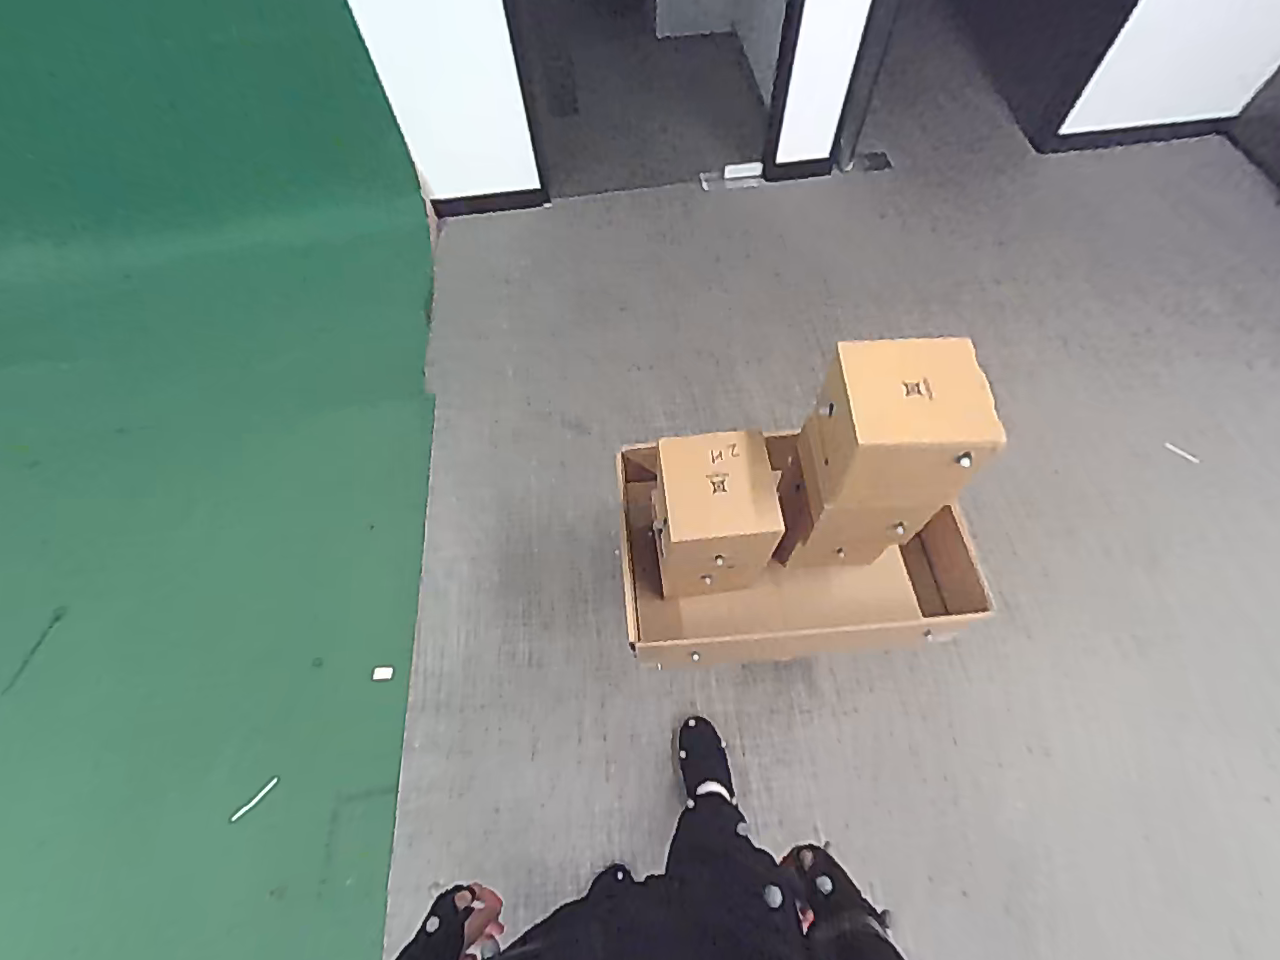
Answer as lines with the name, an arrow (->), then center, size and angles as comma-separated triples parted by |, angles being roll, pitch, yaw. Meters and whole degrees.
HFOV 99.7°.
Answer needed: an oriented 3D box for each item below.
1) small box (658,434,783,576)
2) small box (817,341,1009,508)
small box -> 0.120, 0.049, 0.868 | 0.168, 0.176, 0.179 | -5, 62, -1
small box -> 0.349, -0.068, 0.738 | 0.179, 0.176, 0.168 | -1, 61, 4
